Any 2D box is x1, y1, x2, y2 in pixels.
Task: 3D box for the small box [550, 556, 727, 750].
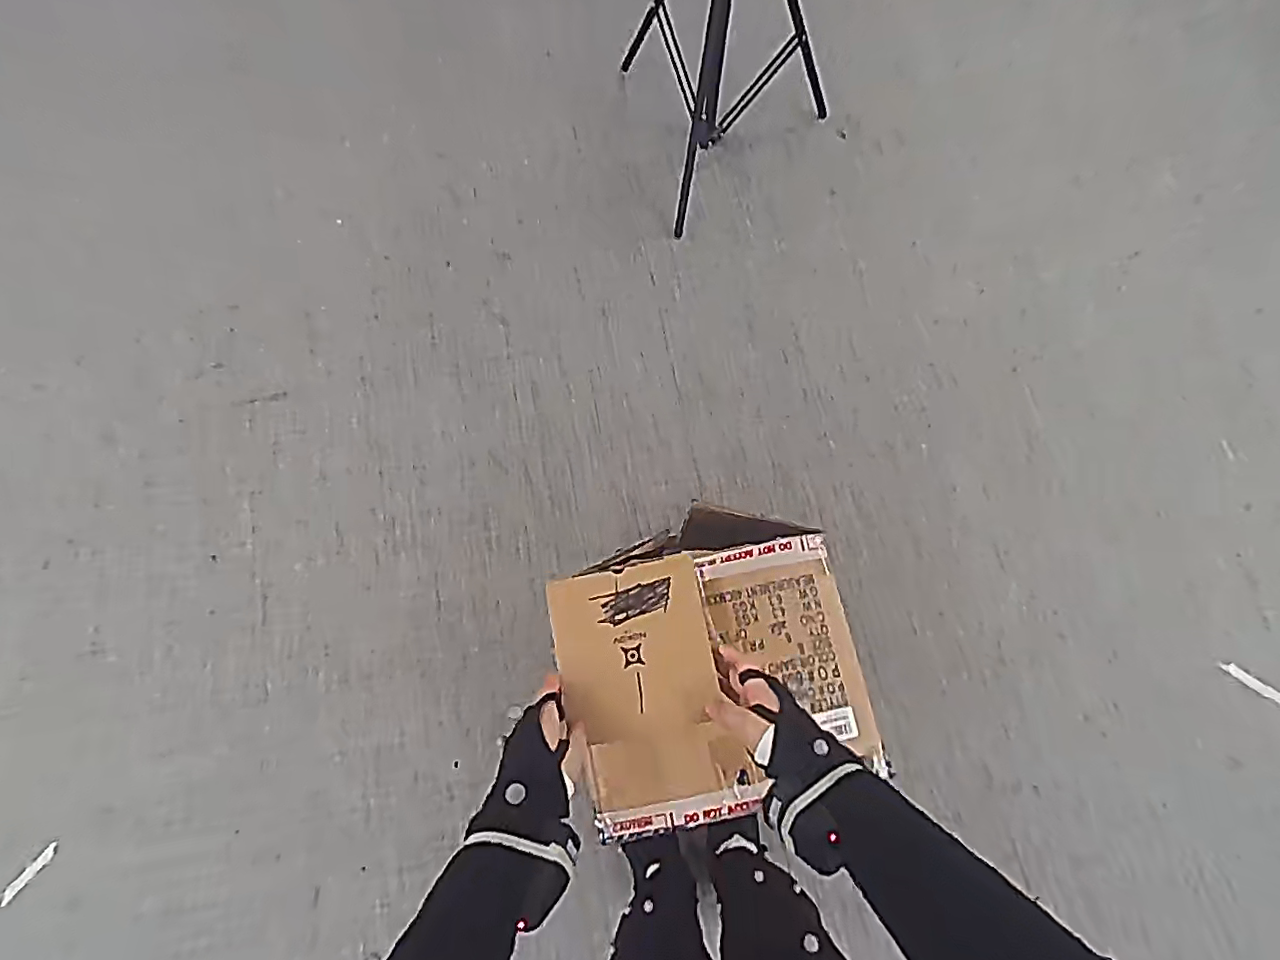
[{"bbox_3d":[-0.002,0.201,0.654,0.168,0.176,0.179,-12,77,0],"label":"small box"}]
